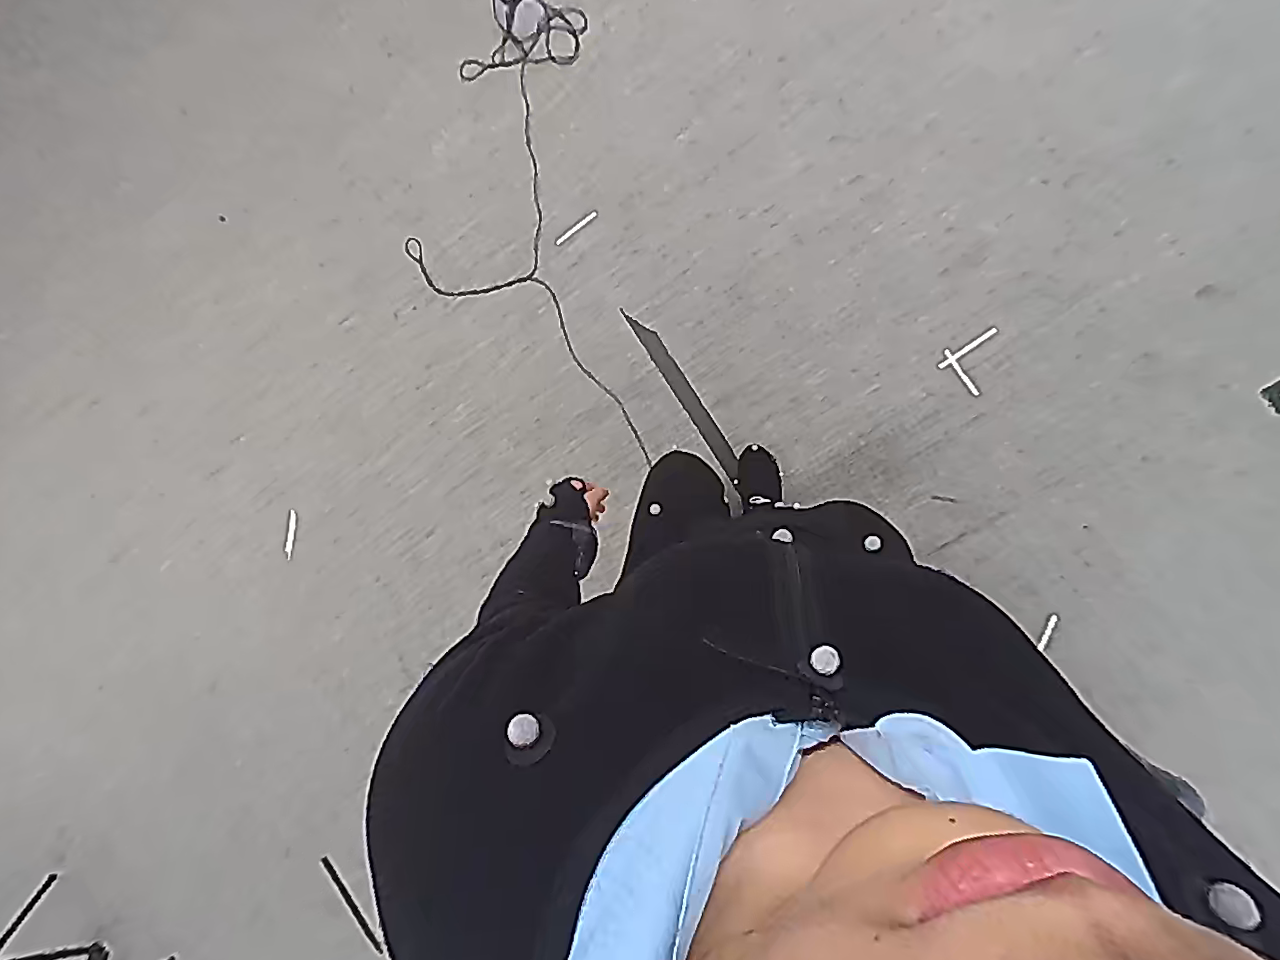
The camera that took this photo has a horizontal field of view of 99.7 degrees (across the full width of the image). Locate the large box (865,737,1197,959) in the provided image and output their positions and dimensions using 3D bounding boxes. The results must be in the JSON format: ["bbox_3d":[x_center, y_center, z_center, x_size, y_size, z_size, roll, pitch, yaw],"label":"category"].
[{"bbox_3d":[0.752,0.816,1.111,0.408,0.320,0.320,-31,88,11],"label":"large box"}]
